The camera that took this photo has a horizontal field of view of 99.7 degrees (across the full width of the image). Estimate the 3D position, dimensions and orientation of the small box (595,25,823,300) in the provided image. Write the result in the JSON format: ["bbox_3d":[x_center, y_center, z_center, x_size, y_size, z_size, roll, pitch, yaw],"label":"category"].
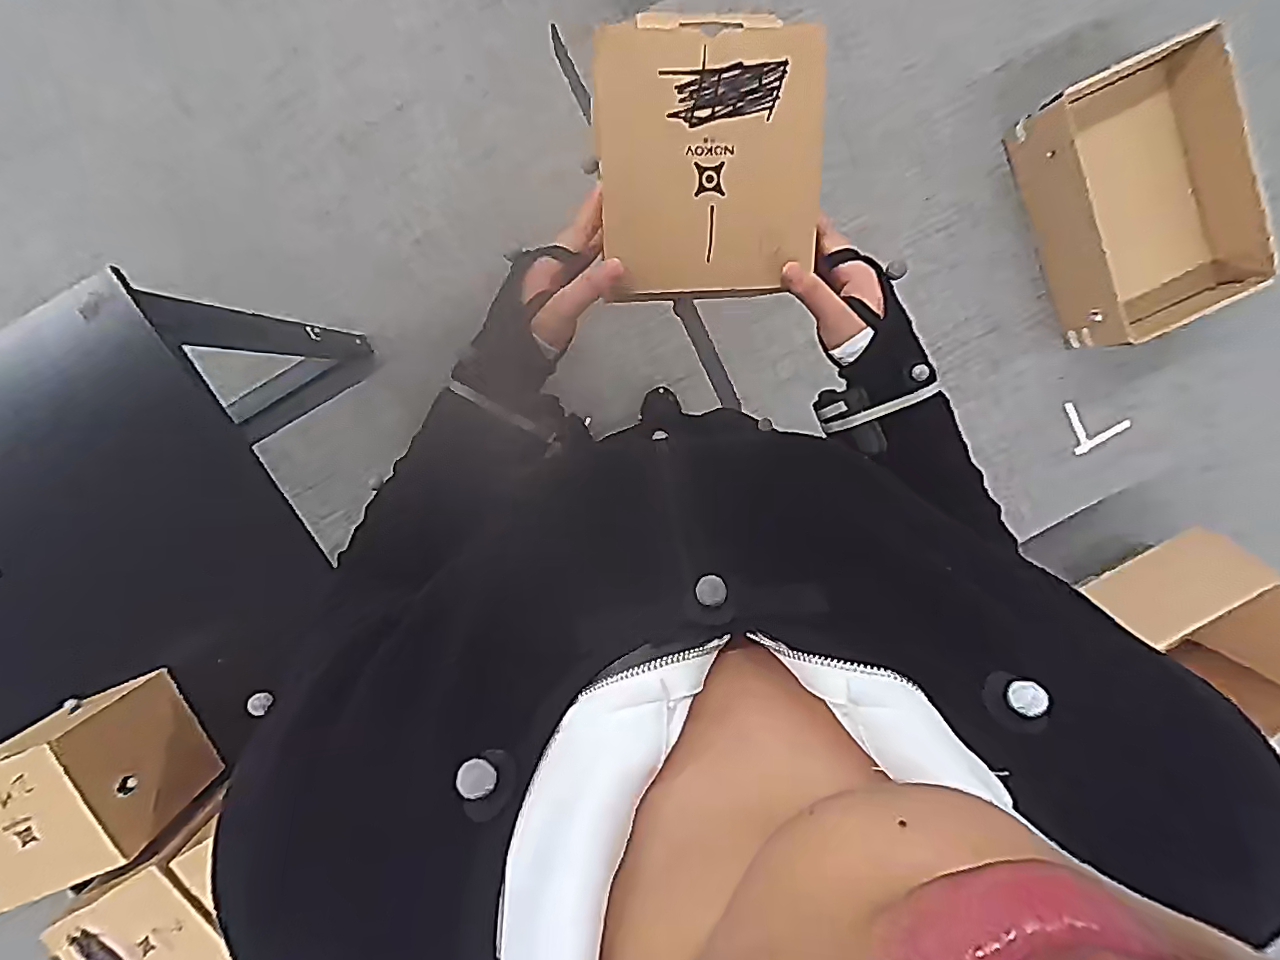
[{"bbox_3d":[0.047,-0.259,0.482,0.168,0.176,0.179,-4,107,-4],"label":"small box"}]
